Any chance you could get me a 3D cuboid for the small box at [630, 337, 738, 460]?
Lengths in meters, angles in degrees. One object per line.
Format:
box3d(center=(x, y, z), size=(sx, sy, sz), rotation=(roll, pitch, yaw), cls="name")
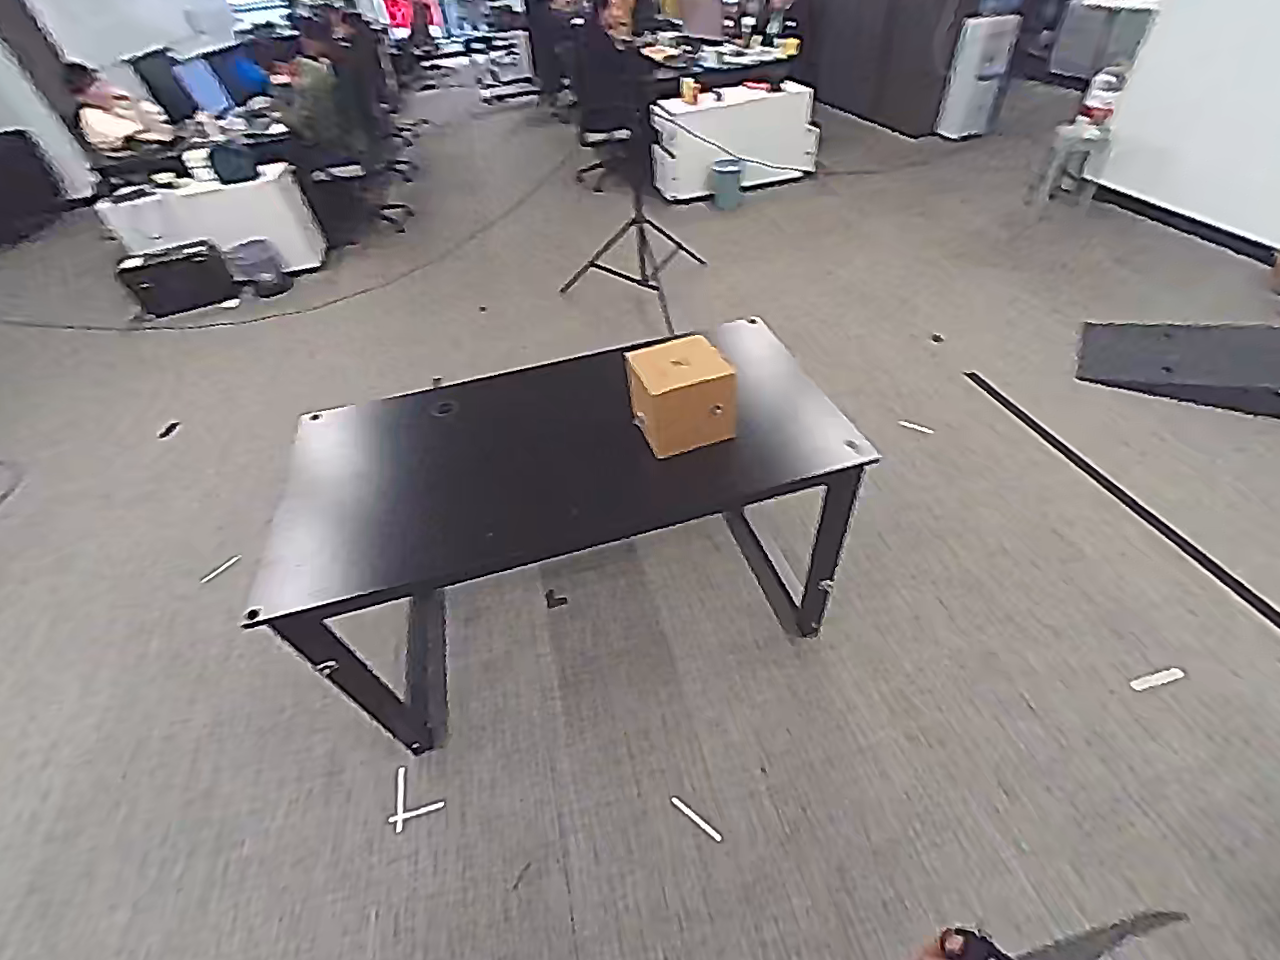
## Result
box3d(center=(0.091, -0.171, 1.138), size=(0.179, 0.176, 0.168), rotation=(-18, 45, -9), cls="small box")
